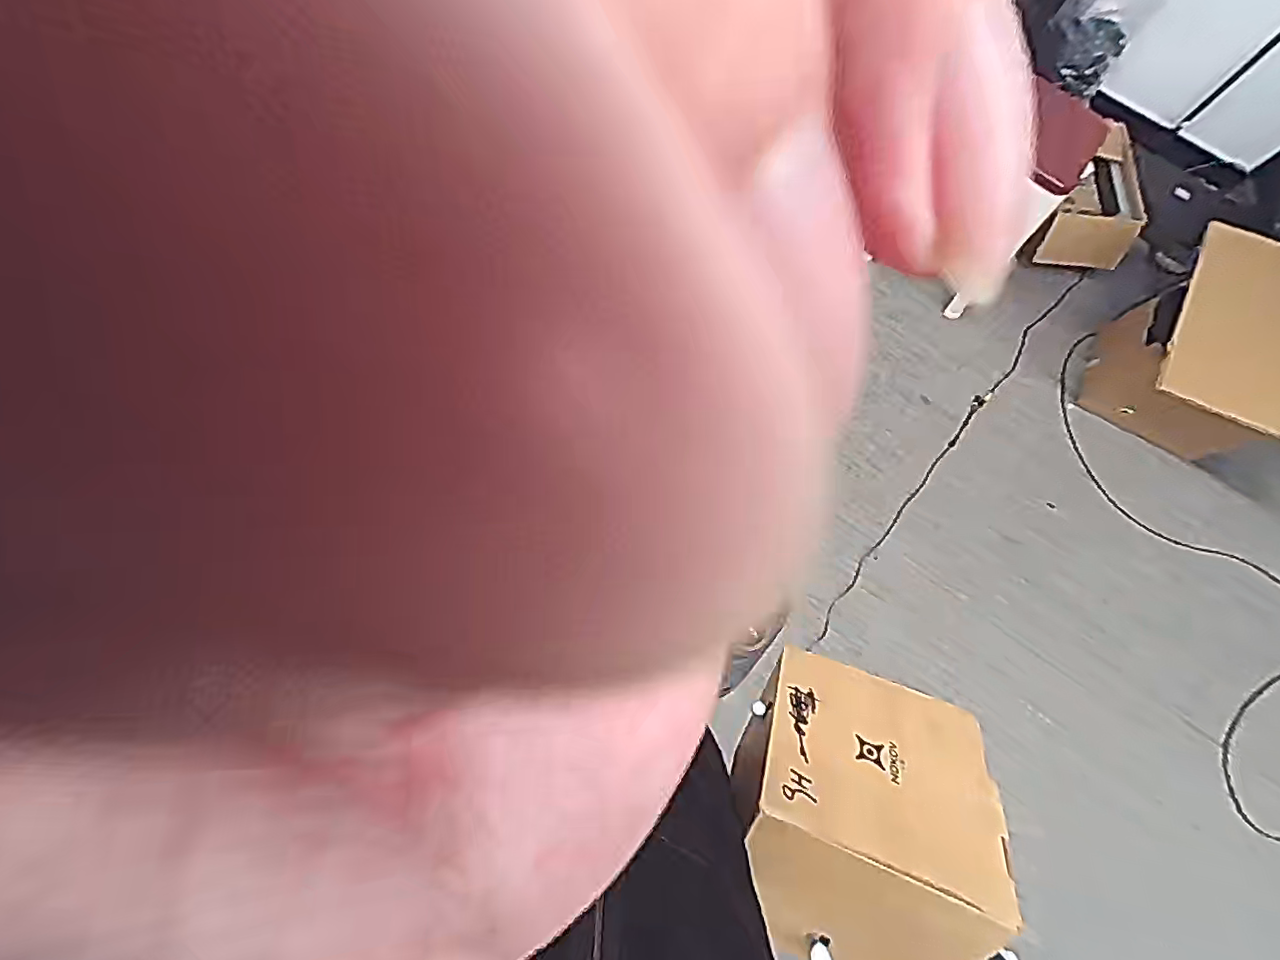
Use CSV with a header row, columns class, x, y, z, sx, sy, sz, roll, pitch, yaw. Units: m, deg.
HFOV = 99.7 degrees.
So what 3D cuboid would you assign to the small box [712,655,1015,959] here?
class,x,y,z,sx,sy,sz,roll,pitch,yaw
small box,0.182,0.299,0.482,0.179,0.176,0.168,19,32,11
